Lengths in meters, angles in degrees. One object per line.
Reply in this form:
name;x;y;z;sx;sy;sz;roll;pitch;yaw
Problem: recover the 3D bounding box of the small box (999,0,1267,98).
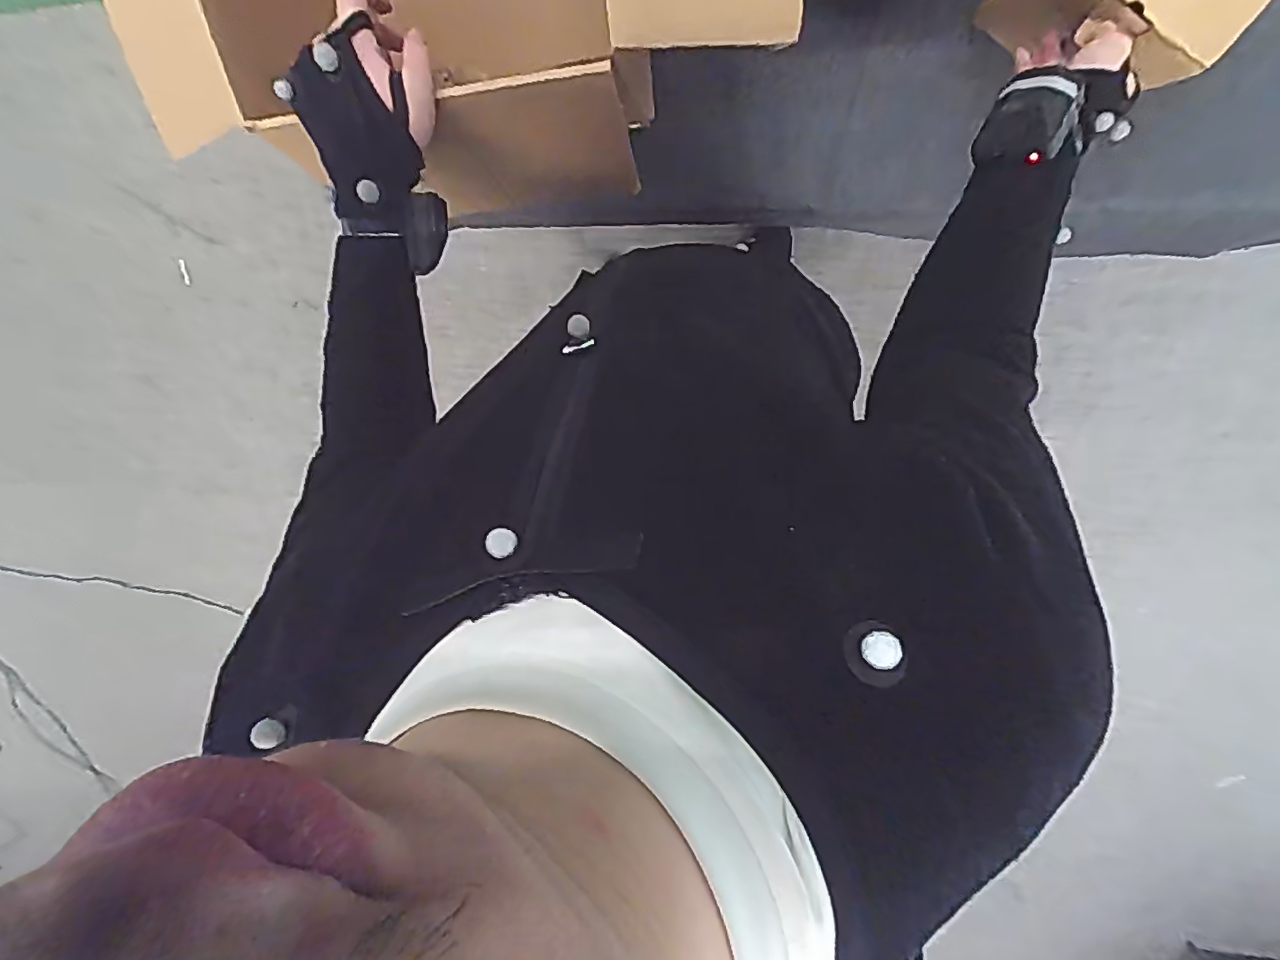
small box;0.467;-0.487;0.485;0.168;0.176;0.179;32;116;-8
